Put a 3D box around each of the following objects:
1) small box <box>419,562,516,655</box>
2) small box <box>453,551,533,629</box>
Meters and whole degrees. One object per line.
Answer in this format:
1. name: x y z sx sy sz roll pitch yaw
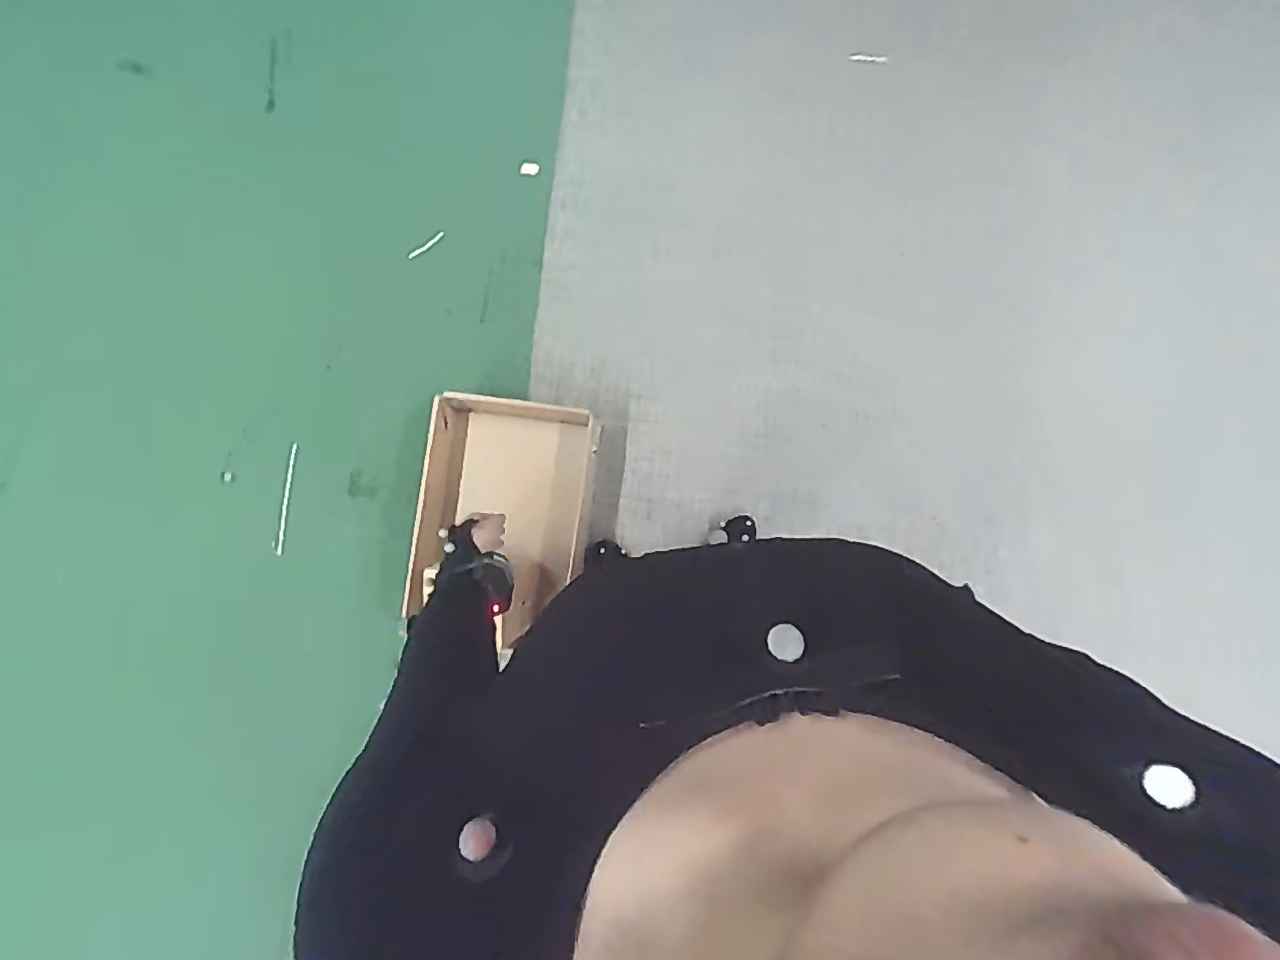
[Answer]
1. small box: -0.369 0.273 1.183 0.168 0.176 0.179 -2 84 -2
2. small box: -0.370 0.280 1.347 0.168 0.176 0.179 8 87 0
